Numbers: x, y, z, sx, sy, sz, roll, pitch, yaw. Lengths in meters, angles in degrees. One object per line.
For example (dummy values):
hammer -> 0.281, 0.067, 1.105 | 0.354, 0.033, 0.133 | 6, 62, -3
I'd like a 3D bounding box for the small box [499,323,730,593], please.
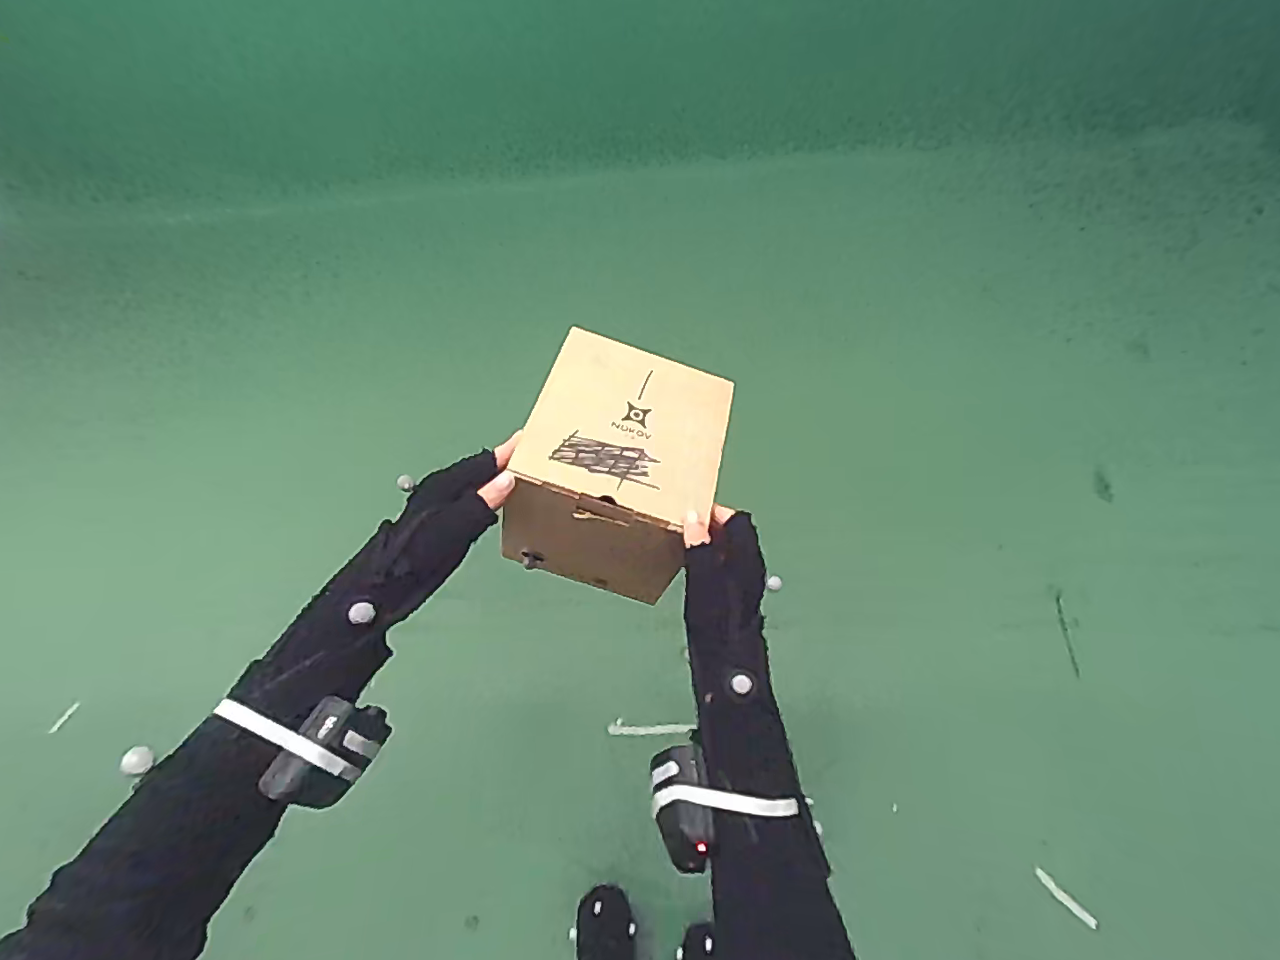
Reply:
small box -> -0.028, -0.012, 0.527 | 0.168, 0.176, 0.179 | 19, 54, -4
